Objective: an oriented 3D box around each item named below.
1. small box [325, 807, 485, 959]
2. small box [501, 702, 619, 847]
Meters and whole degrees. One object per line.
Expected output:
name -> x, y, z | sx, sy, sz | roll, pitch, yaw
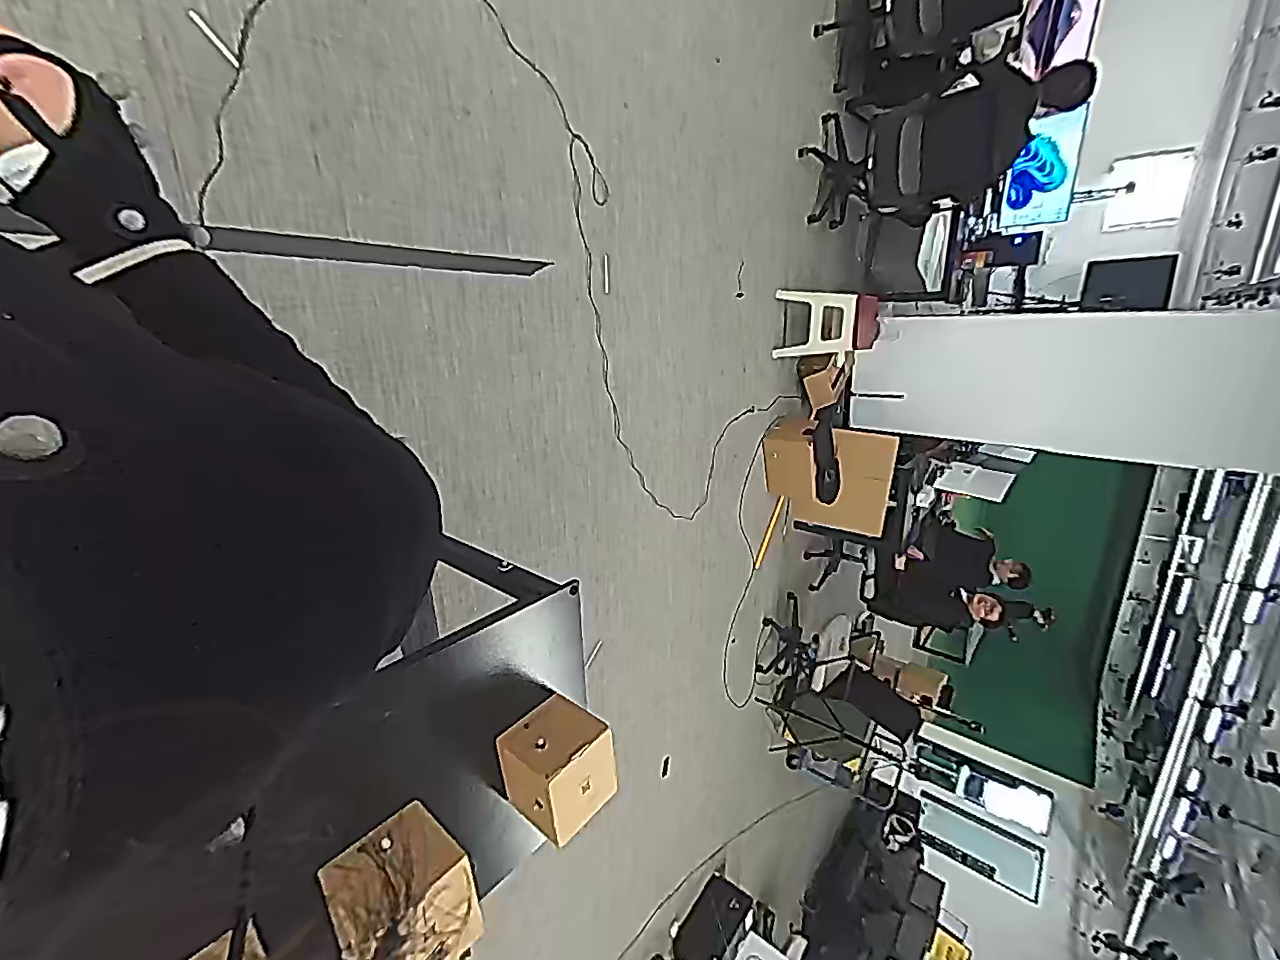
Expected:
small box -> -0.377, 0.683, 0.873 | 0.168, 0.176, 0.179 | -22, 116, -46
small box -> -0.165, 0.586, 1.110 | 0.168, 0.176, 0.179 | -25, 119, -44
